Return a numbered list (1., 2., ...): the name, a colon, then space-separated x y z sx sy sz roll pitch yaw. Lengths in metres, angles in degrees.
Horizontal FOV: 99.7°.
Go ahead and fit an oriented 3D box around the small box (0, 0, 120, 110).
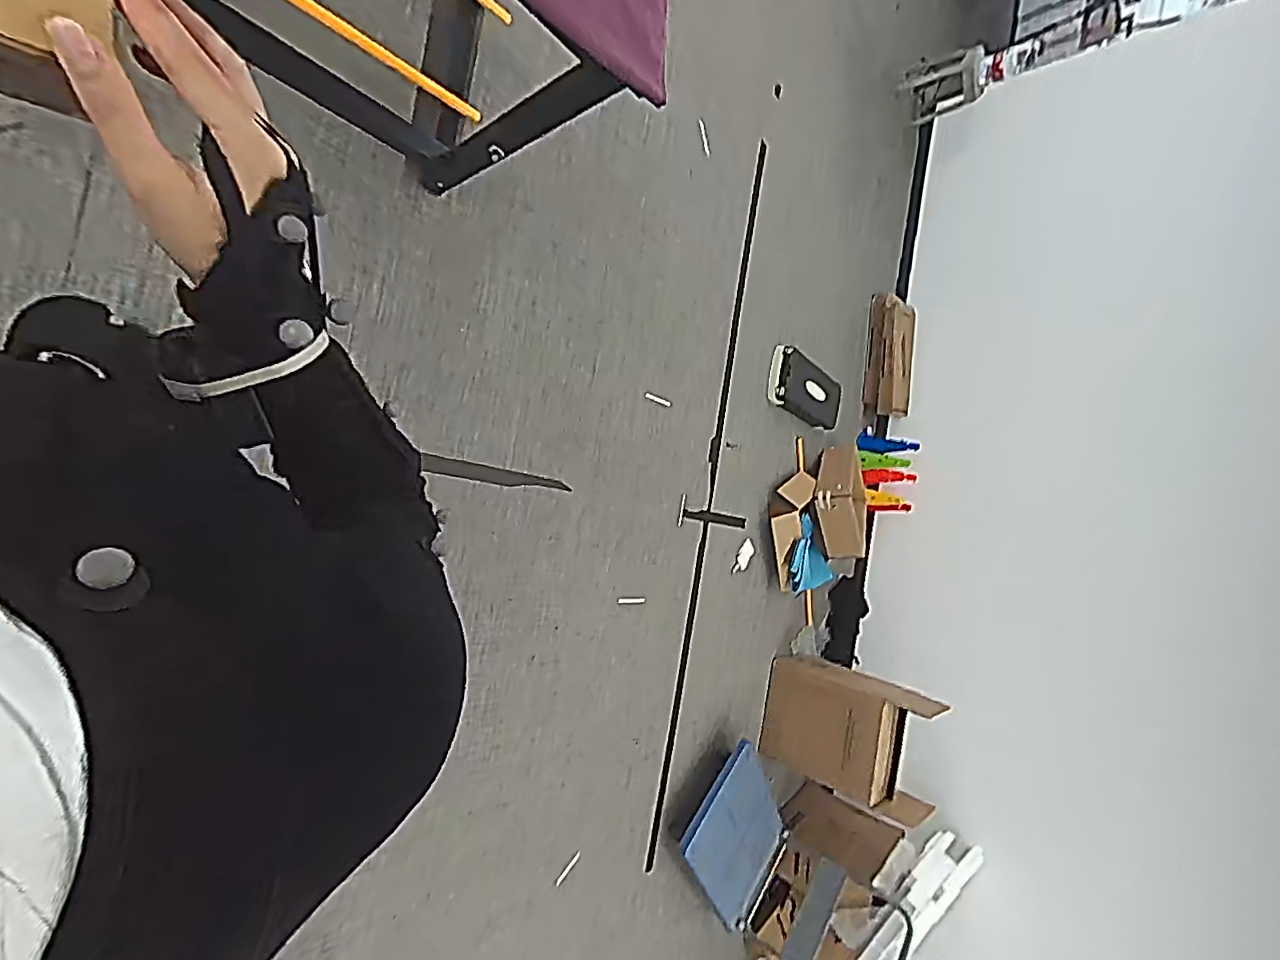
1. small box: -0.316 -0.267 0.198 0.179 0.176 0.168 -2 110 -47
